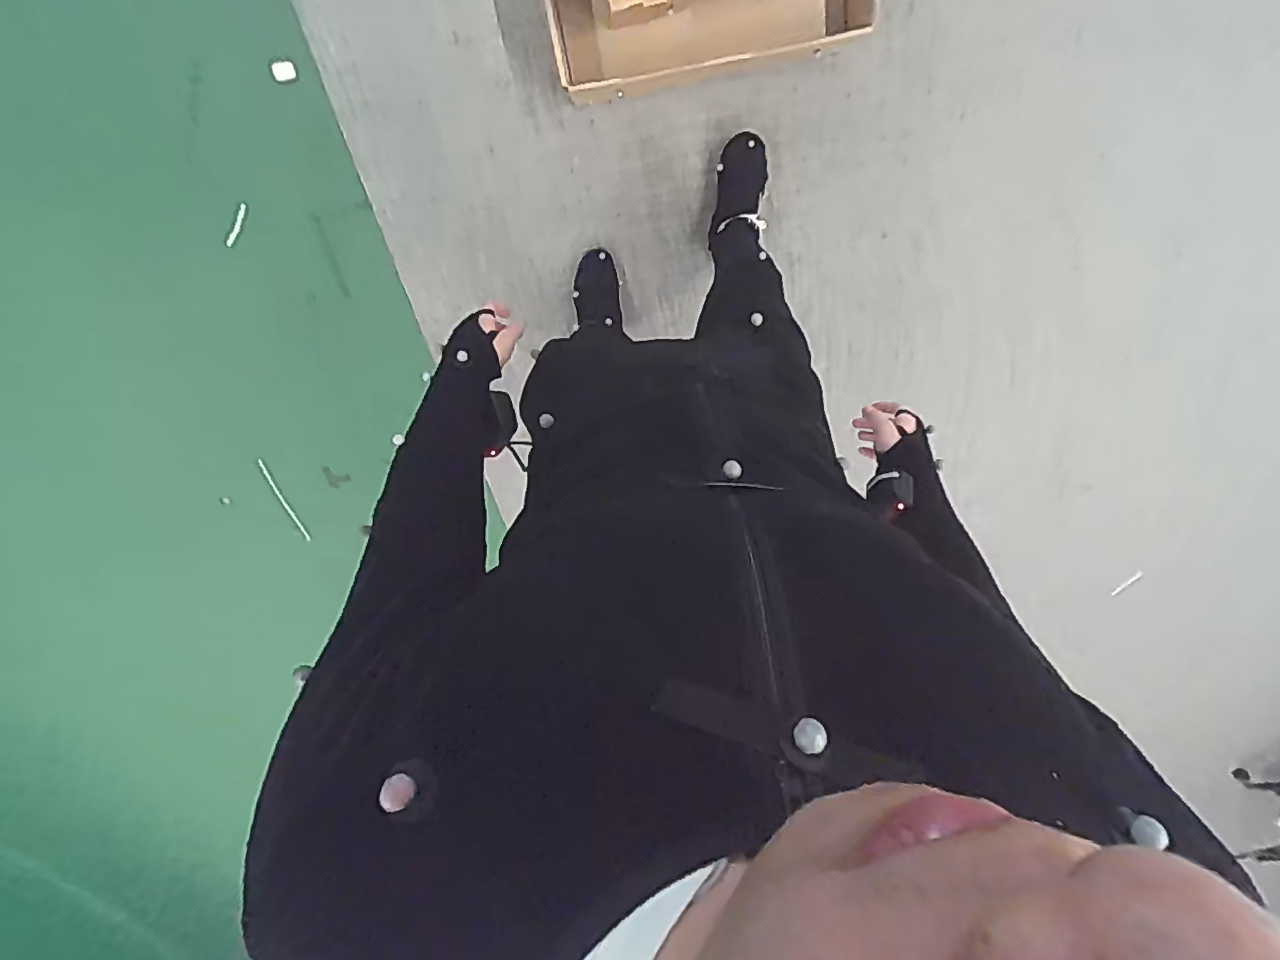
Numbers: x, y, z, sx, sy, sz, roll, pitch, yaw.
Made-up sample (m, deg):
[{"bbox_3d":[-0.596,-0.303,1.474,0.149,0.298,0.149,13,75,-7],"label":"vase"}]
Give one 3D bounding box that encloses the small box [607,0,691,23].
[{"bbox_3d":[0.012,-0.977,0.997,0.168,0.176,0.179,-11,120,2],"label":"small box"}]
